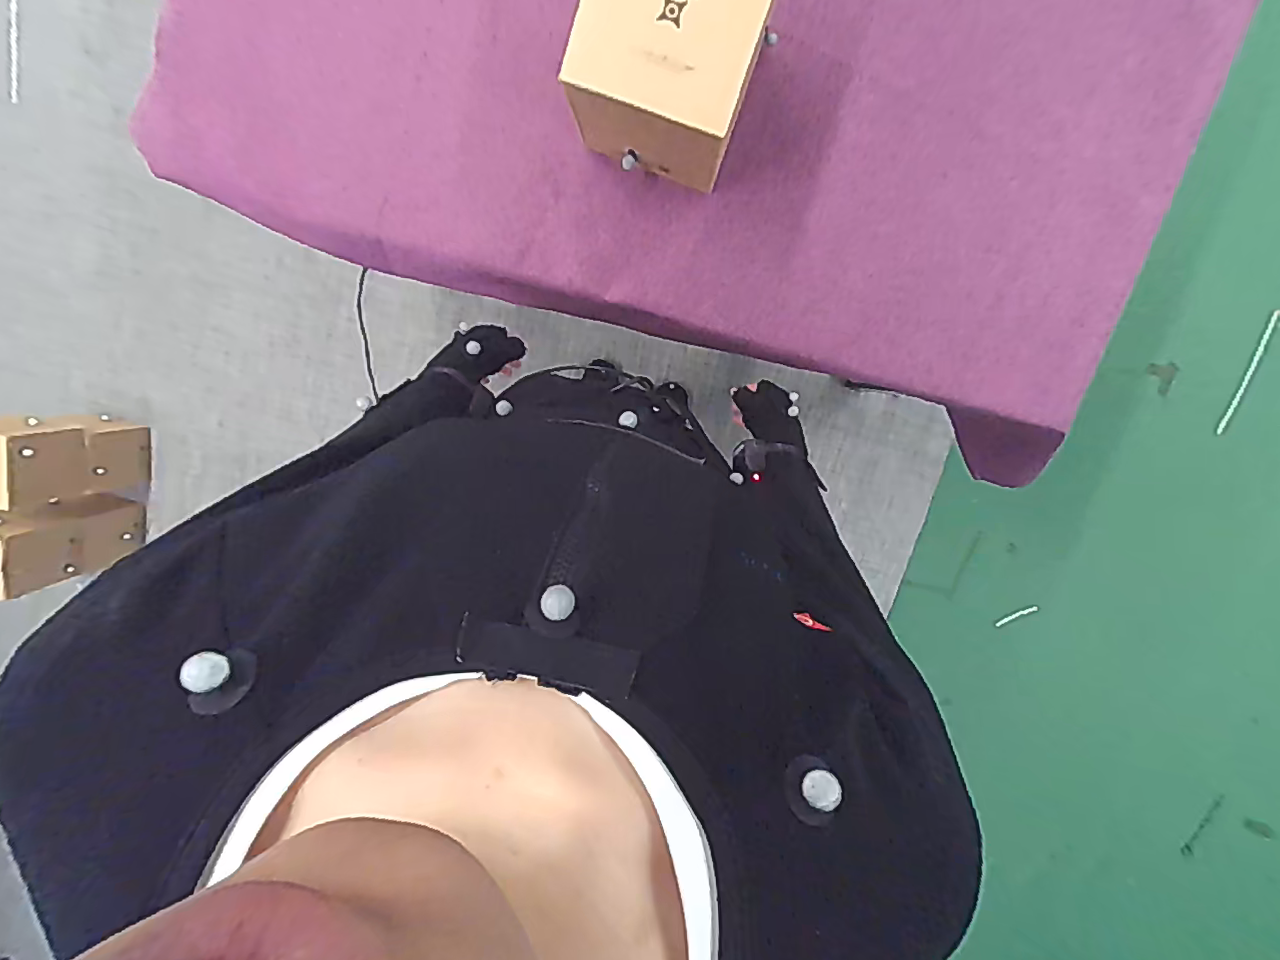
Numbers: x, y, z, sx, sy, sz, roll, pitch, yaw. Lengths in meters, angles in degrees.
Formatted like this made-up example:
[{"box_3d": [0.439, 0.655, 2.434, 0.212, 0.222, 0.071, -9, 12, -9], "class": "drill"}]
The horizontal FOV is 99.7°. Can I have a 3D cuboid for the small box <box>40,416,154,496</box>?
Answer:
[{"box_3d": [-1.457, -0.071, 1.439, 0.179, 0.176, 0.168, 12, 103, 0], "class": "small box"}]

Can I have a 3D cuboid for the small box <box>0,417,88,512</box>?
[{"box_3d": [-1.466, -0.043, 1.278, 0.168, 0.176, 0.179, 11, 102, -1], "class": "small box"}]

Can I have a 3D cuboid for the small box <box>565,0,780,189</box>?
[{"box_3d": [0.037, -0.439, 0.559, 0.168, 0.176, 0.179, 19, 103, -1], "class": "small box"}]
